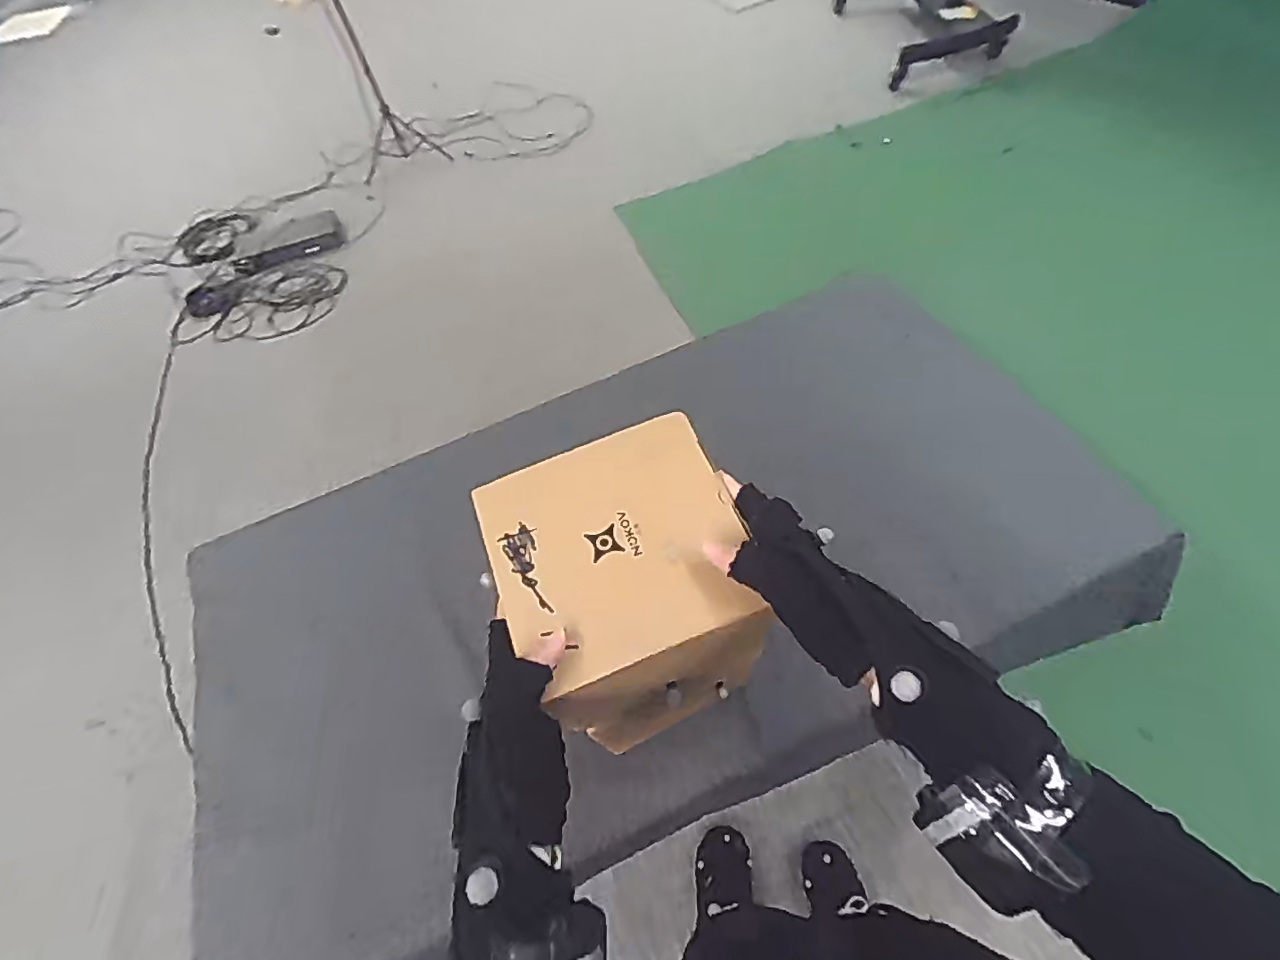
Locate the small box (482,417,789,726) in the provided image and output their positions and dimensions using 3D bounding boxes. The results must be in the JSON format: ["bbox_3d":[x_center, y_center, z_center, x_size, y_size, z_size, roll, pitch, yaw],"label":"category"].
[{"bbox_3d":[-0.007,0.082,0.444,0.179,0.176,0.168,-20,60,-7],"label":"small box"}]

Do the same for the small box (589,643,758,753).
[{"bbox_3d":[0.010,0.177,0.602,0.179,0.176,0.168,-26,57,-8],"label":"small box"}]
